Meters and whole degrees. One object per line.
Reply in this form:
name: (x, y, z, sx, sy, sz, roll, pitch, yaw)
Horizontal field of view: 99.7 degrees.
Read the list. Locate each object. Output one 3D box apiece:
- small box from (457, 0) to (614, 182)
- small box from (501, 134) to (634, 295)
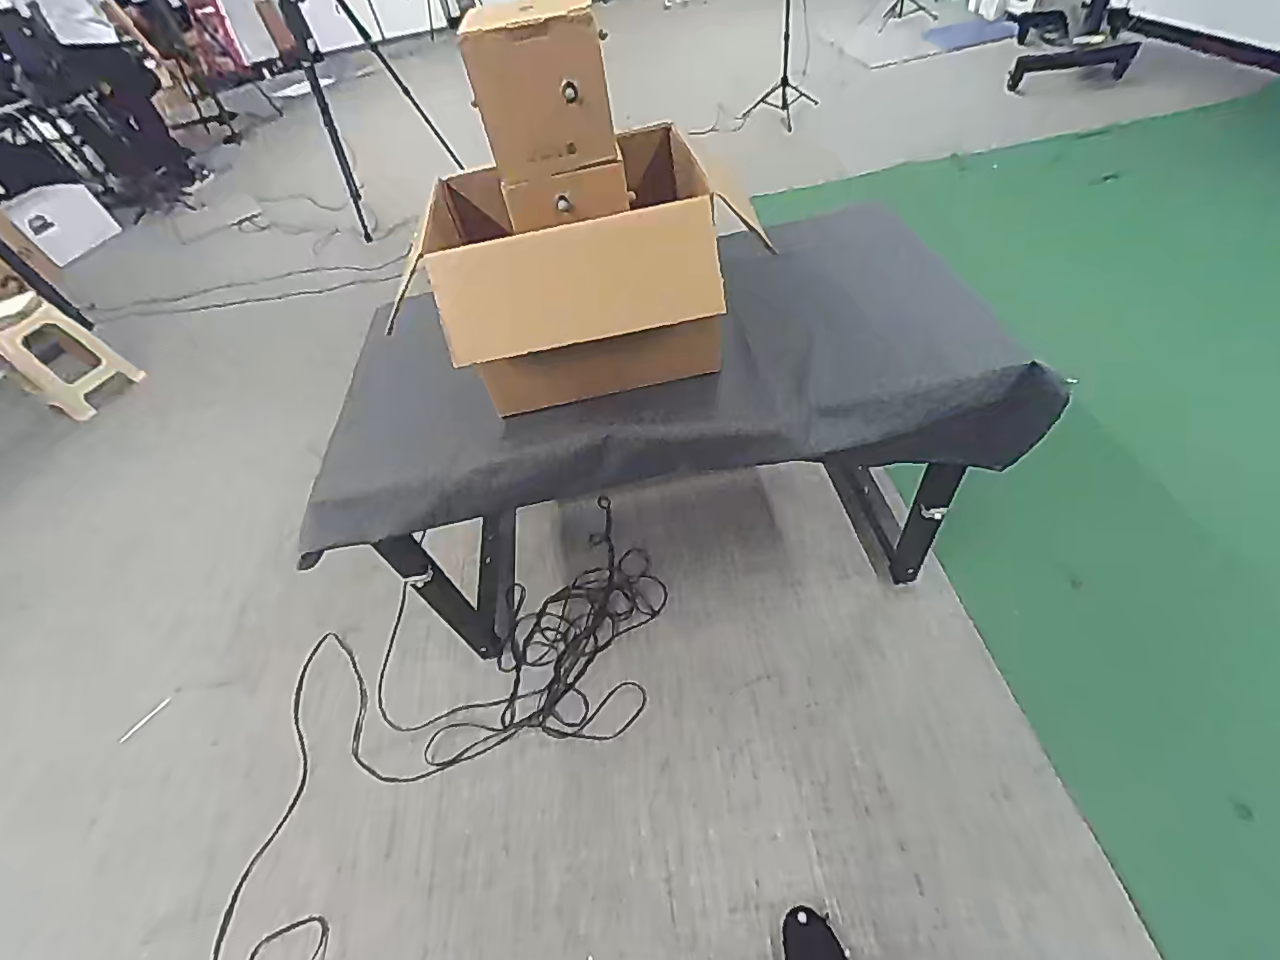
small box: (-0.133, -0.532, 0.745, 0.168, 0.176, 0.179, -10, 47, 1)
small box: (-0.108, -0.421, 0.861, 0.179, 0.176, 0.168, -12, 48, 1)
